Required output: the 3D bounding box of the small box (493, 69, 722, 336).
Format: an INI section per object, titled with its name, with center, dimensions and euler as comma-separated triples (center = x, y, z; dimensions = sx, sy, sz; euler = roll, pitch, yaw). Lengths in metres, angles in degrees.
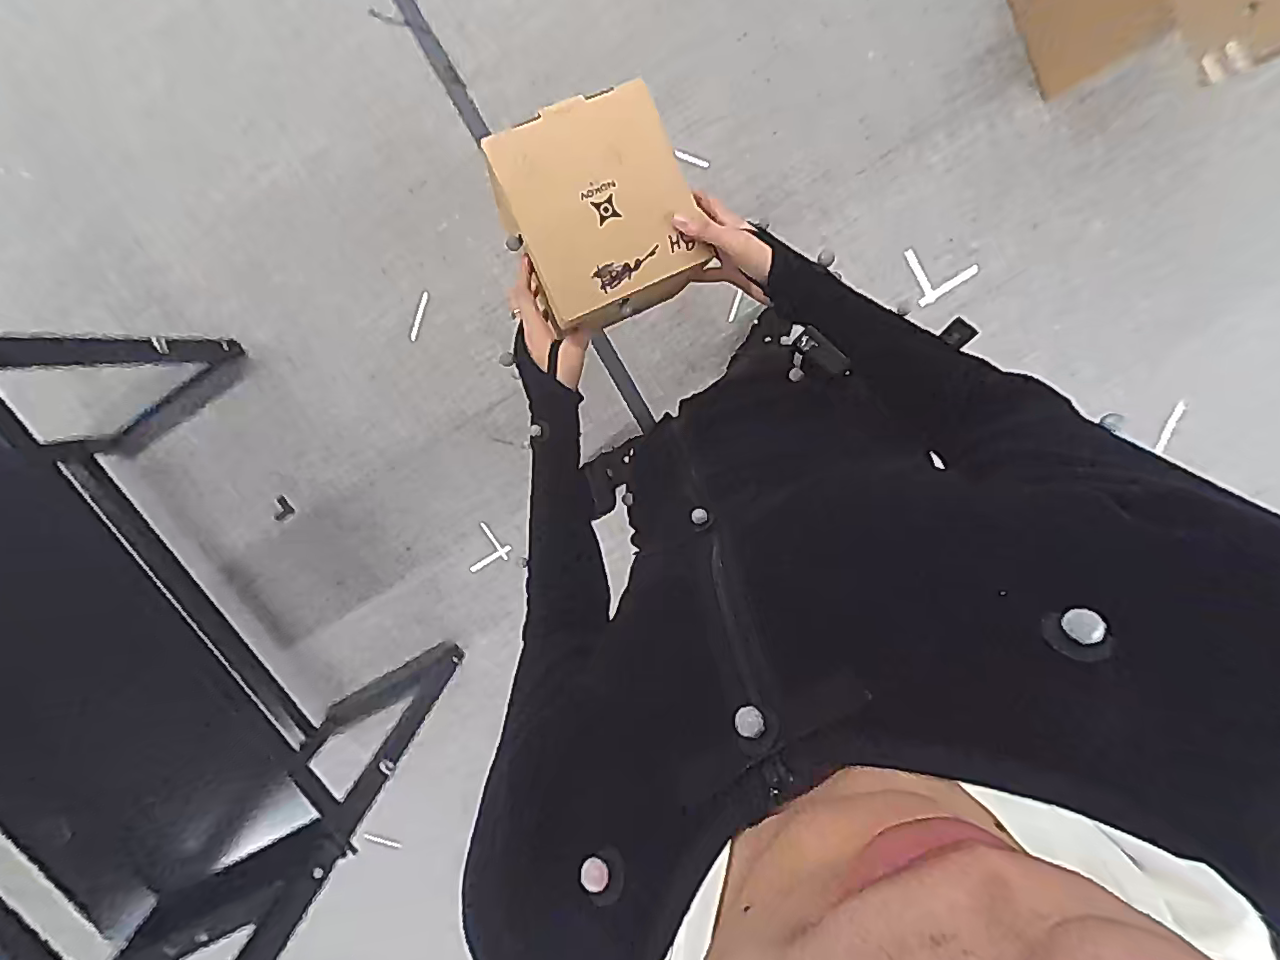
[small box]
center = -0.040, -0.275, 0.577
dimensions = 0.168, 0.176, 0.179
euler = -25, 99, -6
